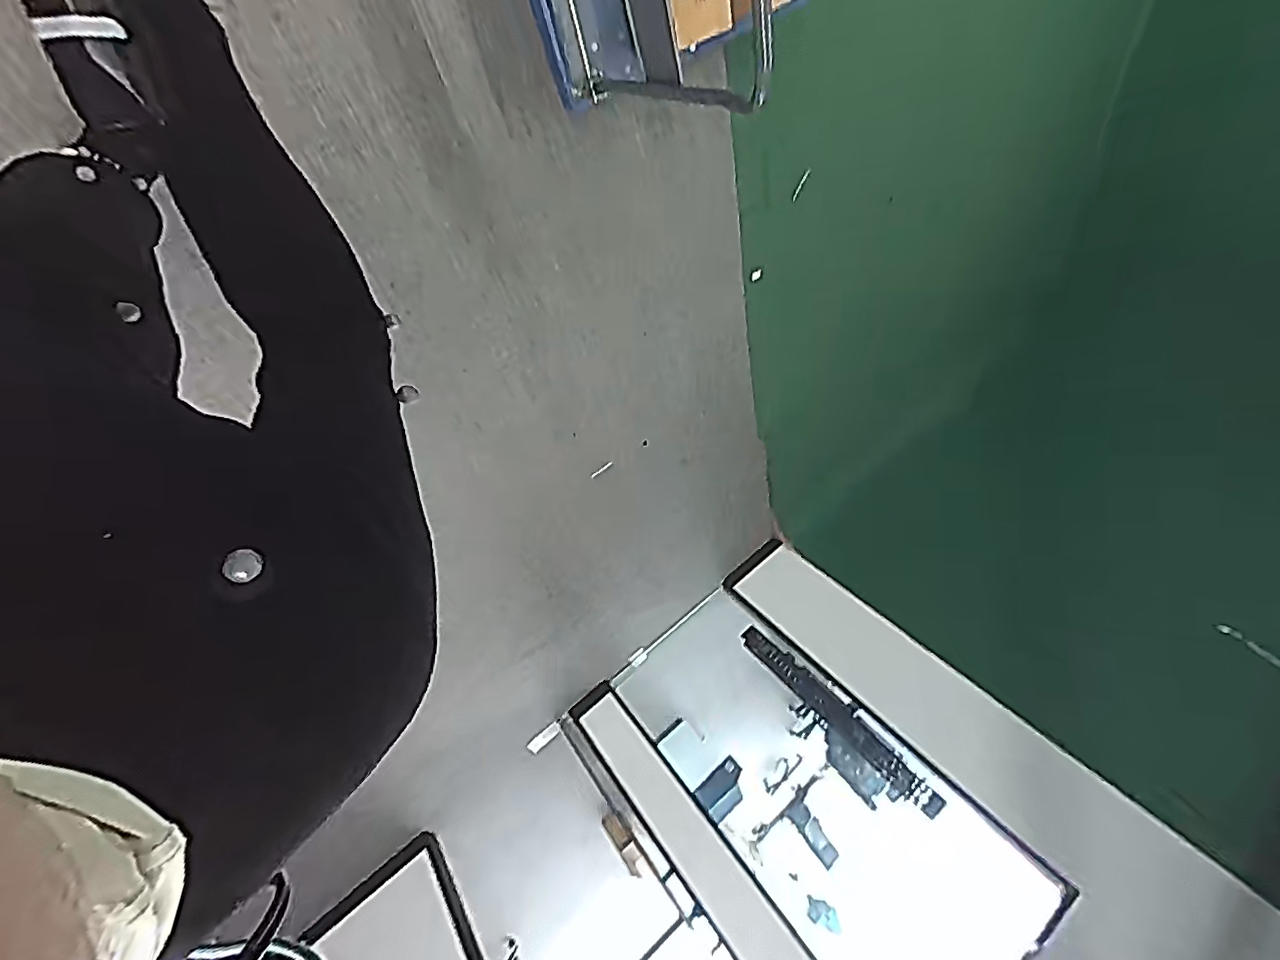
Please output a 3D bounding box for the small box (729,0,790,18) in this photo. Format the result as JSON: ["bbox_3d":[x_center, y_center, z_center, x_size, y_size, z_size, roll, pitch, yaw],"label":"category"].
[{"bbox_3d":[0.300,-1.288,1.345,0.179,0.176,0.168,-37,138,-12],"label":"small box"}]

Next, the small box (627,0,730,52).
[{"bbox_3d":[0.088,-1.137,1.272,0.179,0.176,0.168,-34,138,-16],"label":"small box"}]
